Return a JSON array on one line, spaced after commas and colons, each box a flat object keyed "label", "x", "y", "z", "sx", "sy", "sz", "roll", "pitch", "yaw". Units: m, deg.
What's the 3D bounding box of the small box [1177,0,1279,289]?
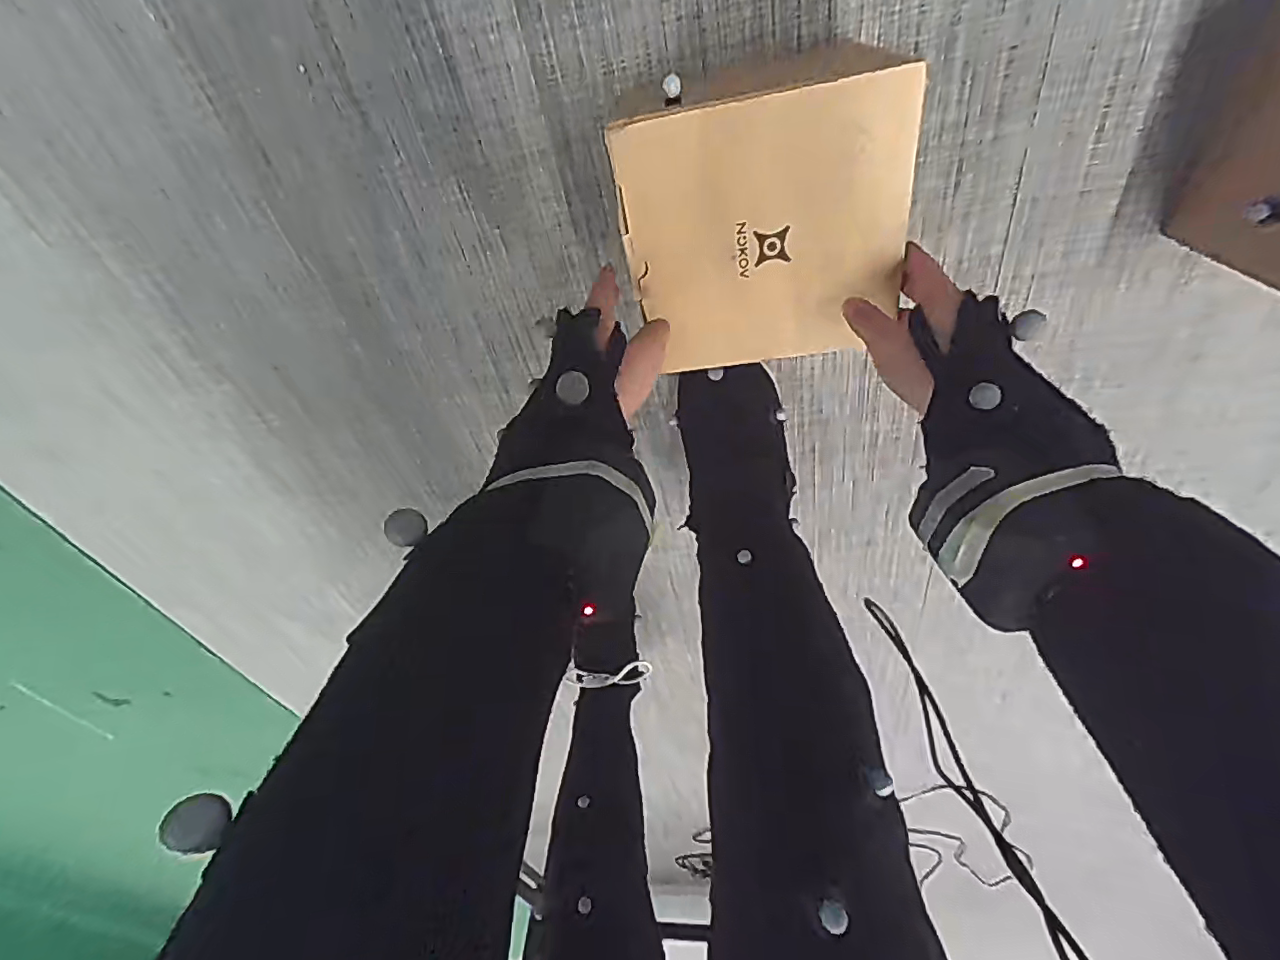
[{"label": "small box", "x": 0.513, "y": -0.230, "z": 0.343, "sx": 0.168, "sy": 0.176, "sz": 0.179, "roll": -3, "pitch": 130, "yaw": 7}]

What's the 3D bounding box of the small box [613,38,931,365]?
[{"label": "small box", "x": 0.087, "y": -0.208, "z": 0.406, "sx": 0.179, "sy": 0.176, "sz": 0.168, "roll": -5, "pitch": 131, "yaw": 11}]
